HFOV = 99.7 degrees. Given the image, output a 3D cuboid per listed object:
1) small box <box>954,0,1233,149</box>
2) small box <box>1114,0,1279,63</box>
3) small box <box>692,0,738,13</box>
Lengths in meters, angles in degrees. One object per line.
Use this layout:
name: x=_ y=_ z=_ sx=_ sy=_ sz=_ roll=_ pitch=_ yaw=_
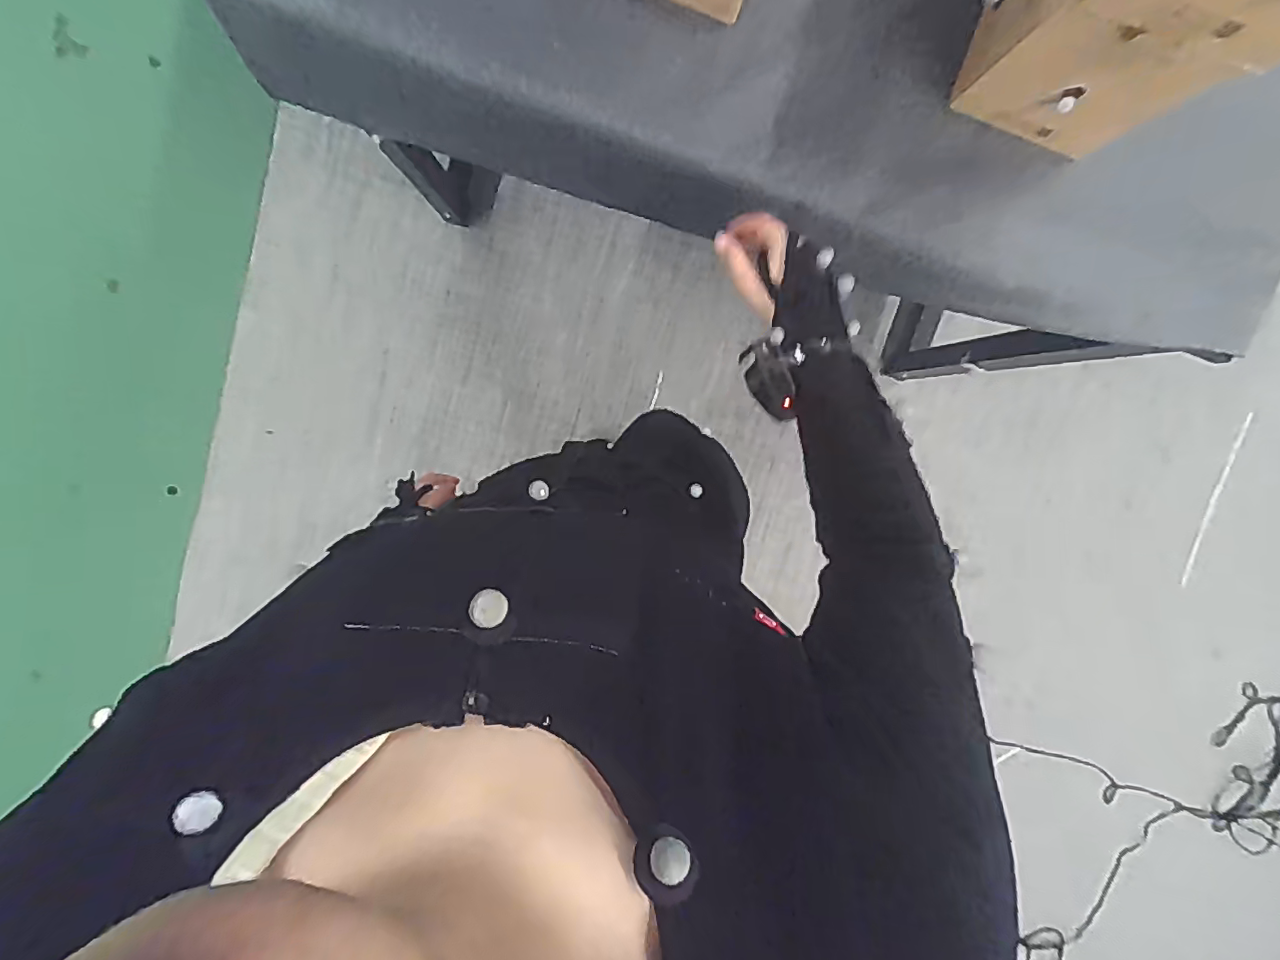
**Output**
small box: x=0.439 y=-0.456 z=0.510 sx=0.168 sy=0.176 sz=0.179 roll=18 pitch=96 yaw=-5
small box: x=0.452 y=-0.428 z=0.350 sx=0.168 sy=0.176 sz=0.179 roll=17 pitch=95 yaw=-6
small box: x=0.052 y=-0.577 z=0.473 sx=0.168 sy=0.176 sz=0.179 roll=20 pitch=95 yaw=-6
